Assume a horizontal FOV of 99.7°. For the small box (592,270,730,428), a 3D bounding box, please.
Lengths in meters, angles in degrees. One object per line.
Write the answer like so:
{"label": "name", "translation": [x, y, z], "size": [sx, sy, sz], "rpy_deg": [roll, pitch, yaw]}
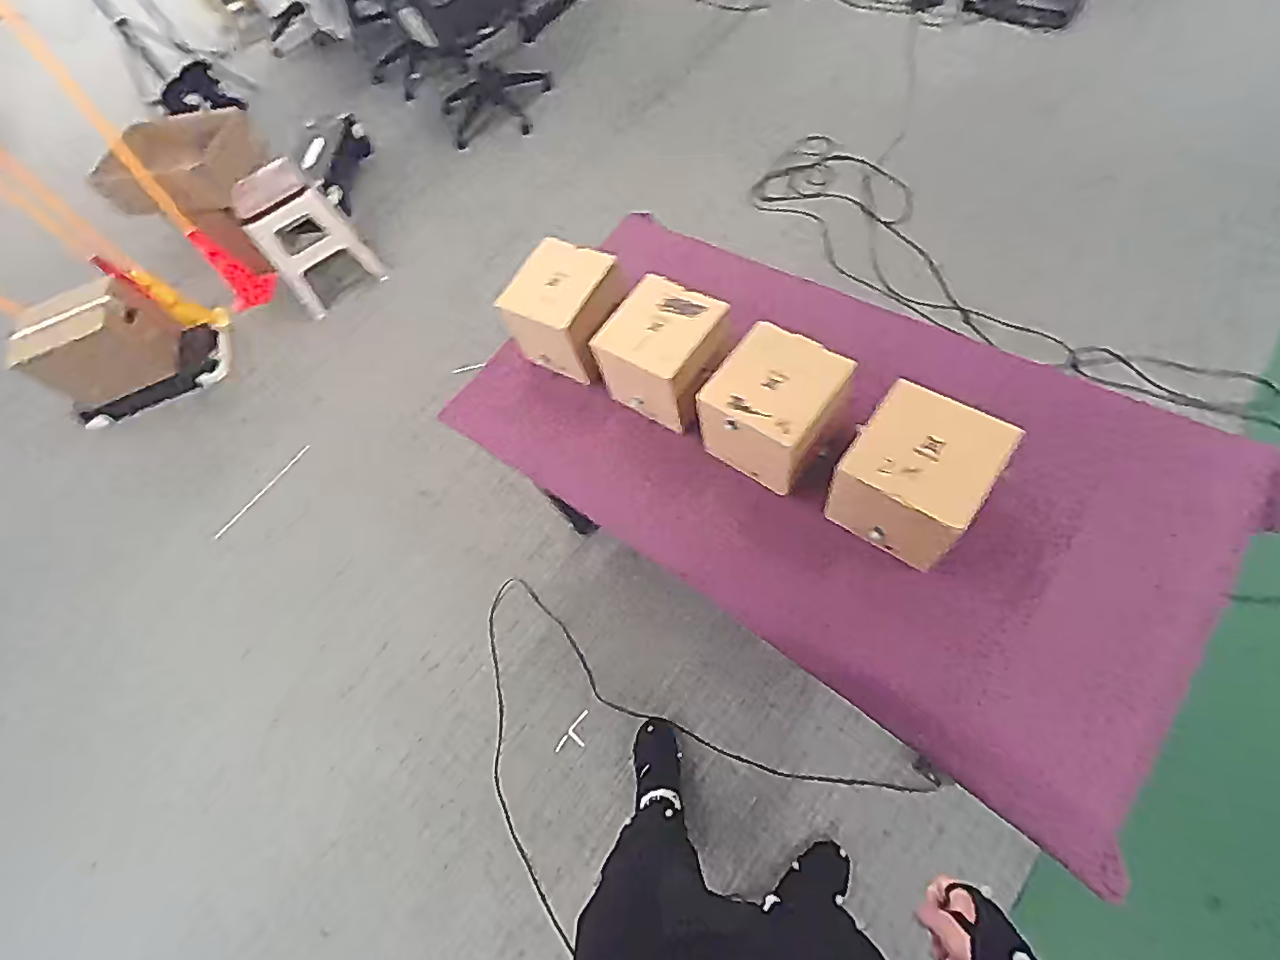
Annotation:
{"label": "small box", "translation": [0.047, -0.227, 0.958], "size": [0.168, 0.176, 0.179], "rpy_deg": [31, 76, 25]}

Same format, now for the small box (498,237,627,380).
{"label": "small box", "translation": [-0.134, -0.329, 1.050], "size": [0.168, 0.176, 0.179], "rpy_deg": [26, 73, 24]}

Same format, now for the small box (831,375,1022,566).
{"label": "small box", "translation": [0.389, -0.008, 0.770], "size": [0.168, 0.176, 0.179], "rpy_deg": [33, 76, 25]}
